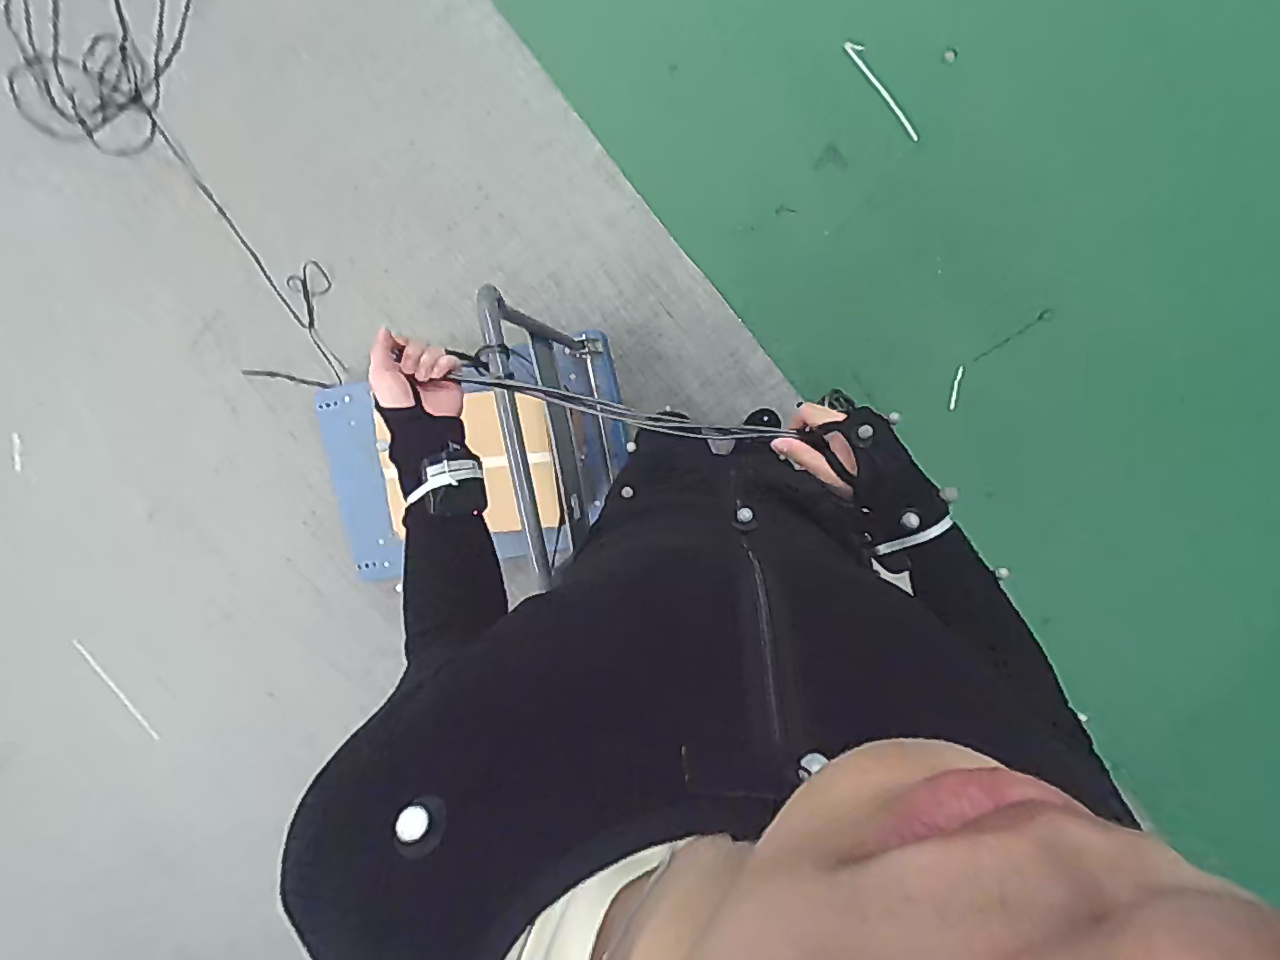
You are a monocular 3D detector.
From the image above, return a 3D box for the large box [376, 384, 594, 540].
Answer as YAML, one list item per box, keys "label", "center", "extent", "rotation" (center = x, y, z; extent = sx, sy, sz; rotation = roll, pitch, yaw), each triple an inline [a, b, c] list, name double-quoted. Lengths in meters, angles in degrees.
- label: "large box"
  center: [-0.355, -0.054, 1.335]
  extent: [0.408, 0.320, 0.320]
  rotation: [-5, 96, 8]
